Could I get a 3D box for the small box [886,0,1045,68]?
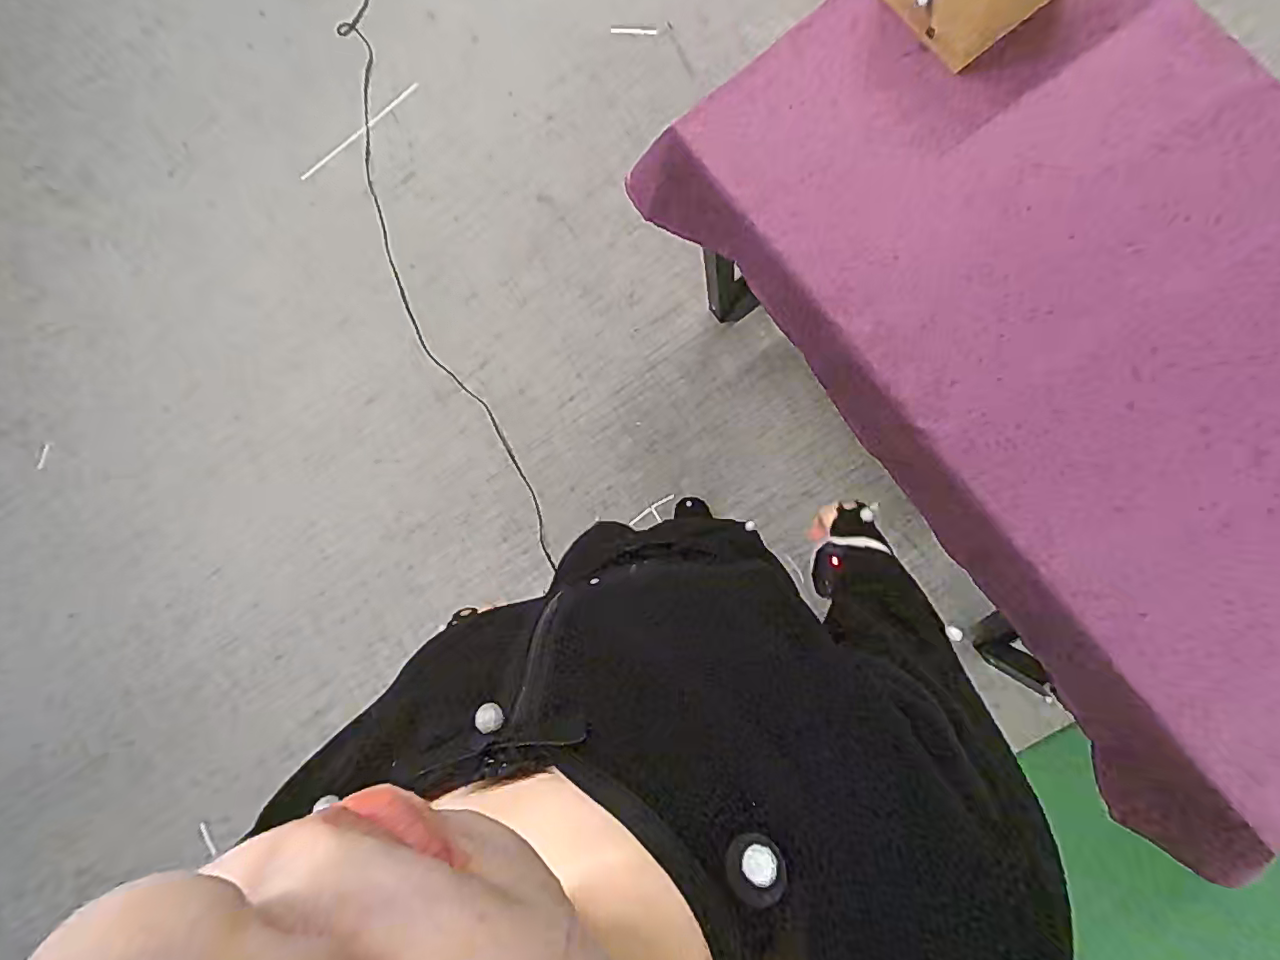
[{"bbox_3d":[0.437,-0.675,0.662,0.179,0.176,0.168,-36,82,6],"label":"small box"}]
